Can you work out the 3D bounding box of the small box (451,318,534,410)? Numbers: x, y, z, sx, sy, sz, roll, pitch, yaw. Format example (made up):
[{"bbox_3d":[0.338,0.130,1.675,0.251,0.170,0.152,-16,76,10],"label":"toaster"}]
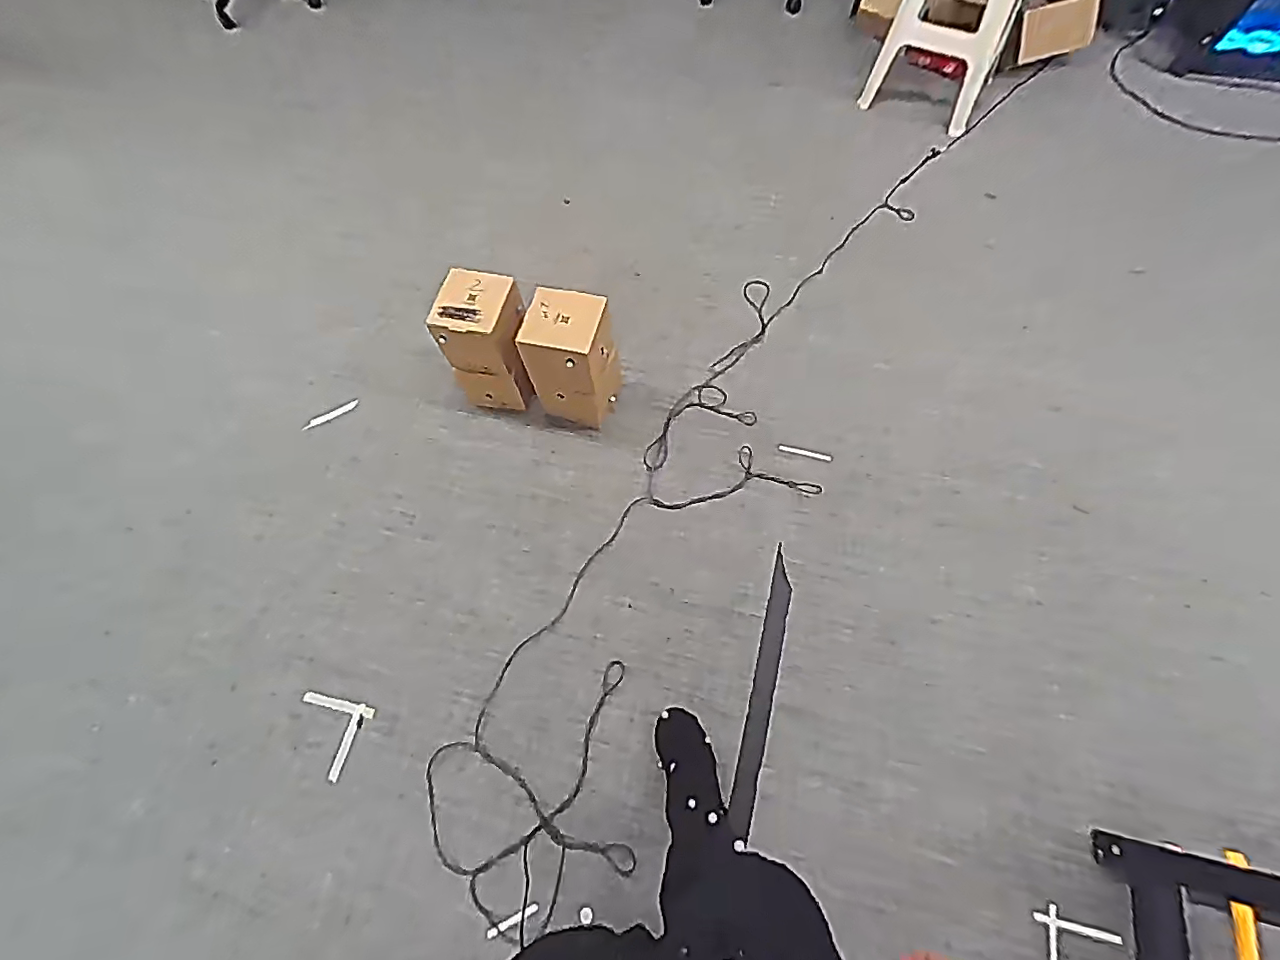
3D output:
[{"bbox_3d":[-0.392,-0.318,1.489,0.168,0.176,0.179,7,67,5],"label":"small box"}]

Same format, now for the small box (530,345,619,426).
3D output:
[{"bbox_3d":[-0.167,-0.268,1.453,0.179,0.176,0.168,18,68,10],"label":"small box"}]

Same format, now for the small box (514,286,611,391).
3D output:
[{"bbox_3d":[-0.176,-0.335,1.302,0.179,0.176,0.168,12,67,9],"label":"small box"}]
